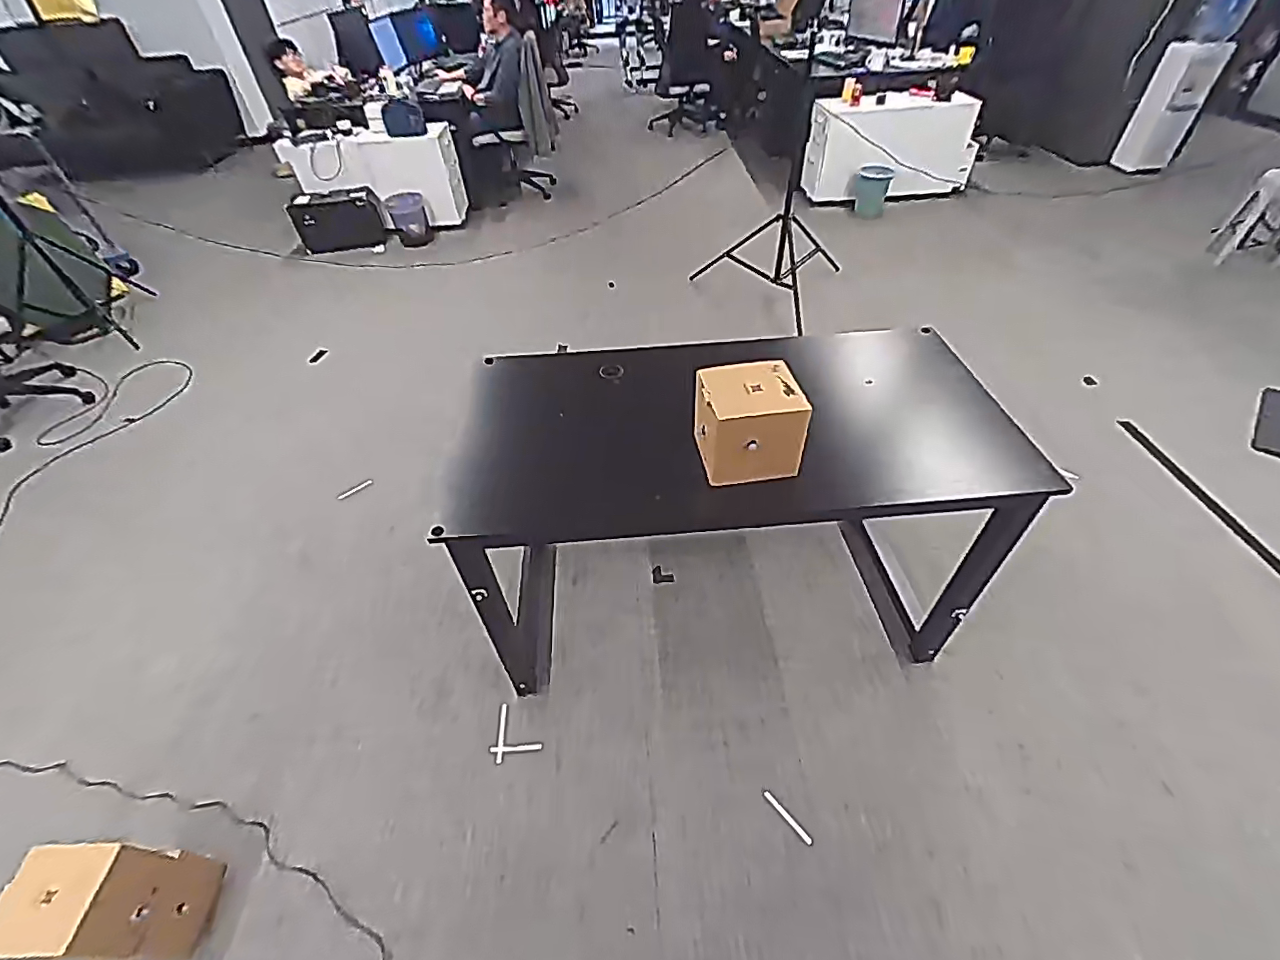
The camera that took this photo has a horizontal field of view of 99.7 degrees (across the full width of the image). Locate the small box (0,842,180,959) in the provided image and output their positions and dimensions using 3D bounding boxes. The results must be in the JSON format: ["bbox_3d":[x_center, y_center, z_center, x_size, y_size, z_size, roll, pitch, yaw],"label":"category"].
[{"bbox_3d":[-1.054,0.807,1.033,0.179,0.176,0.168,-2,48,0],"label":"small box"}]

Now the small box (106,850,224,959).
[{"bbox_3d":[-1.043,0.915,1.154,0.168,0.176,0.179,-4,47,-1],"label":"small box"}]

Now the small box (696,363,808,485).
[{"bbox_3d":[0.211,-0.107,1.068,0.179,0.176,0.168,-8,45,-3],"label":"small box"}]
